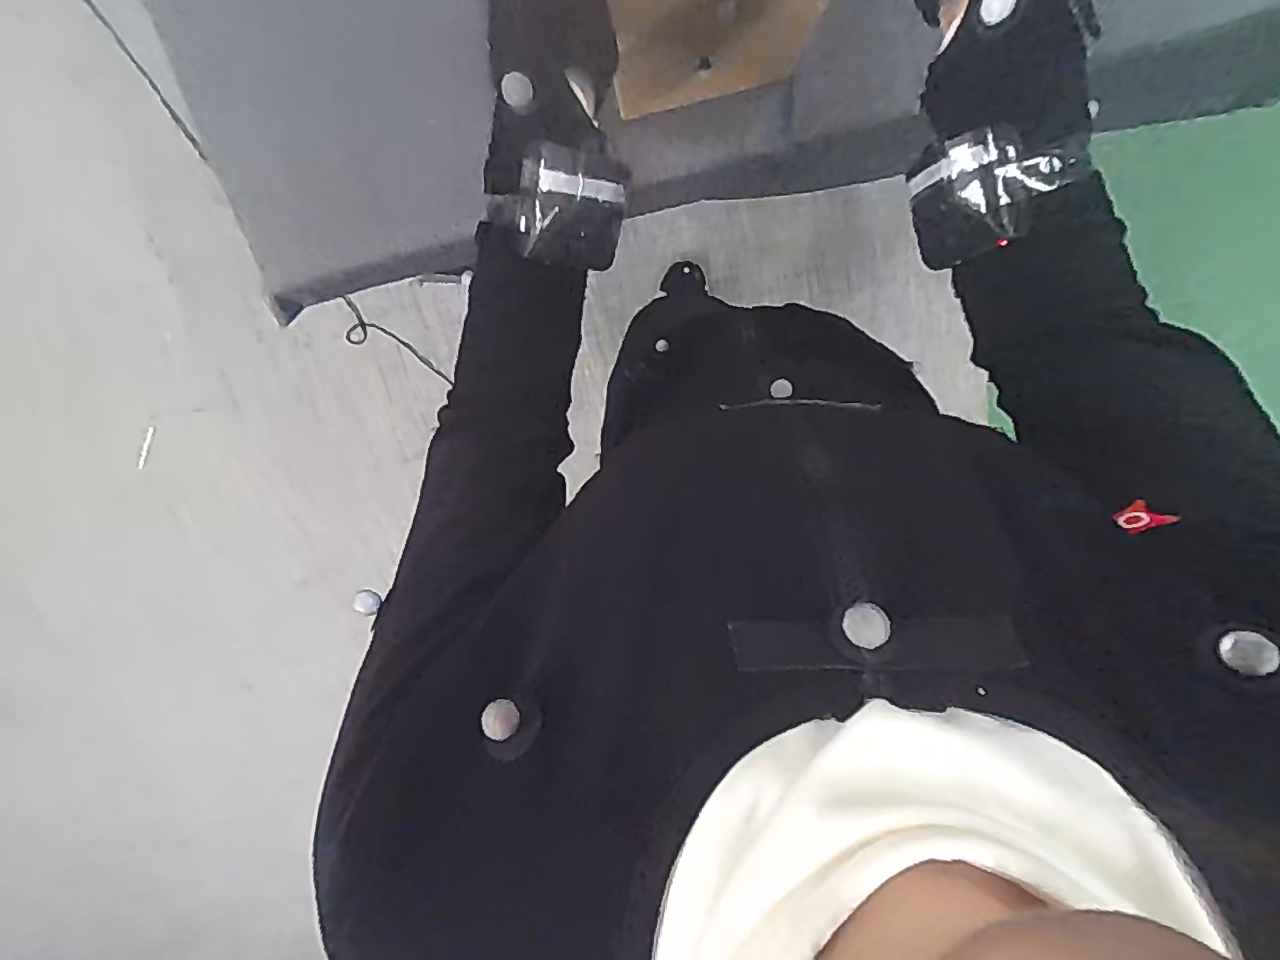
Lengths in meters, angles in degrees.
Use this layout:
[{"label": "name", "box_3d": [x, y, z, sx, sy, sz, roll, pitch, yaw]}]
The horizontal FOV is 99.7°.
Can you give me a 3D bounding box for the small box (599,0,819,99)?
[{"label": "small box", "box_3d": [0.046, -0.456, 0.455, 0.179, 0.176, 0.168, -8, 106, 5]}]
